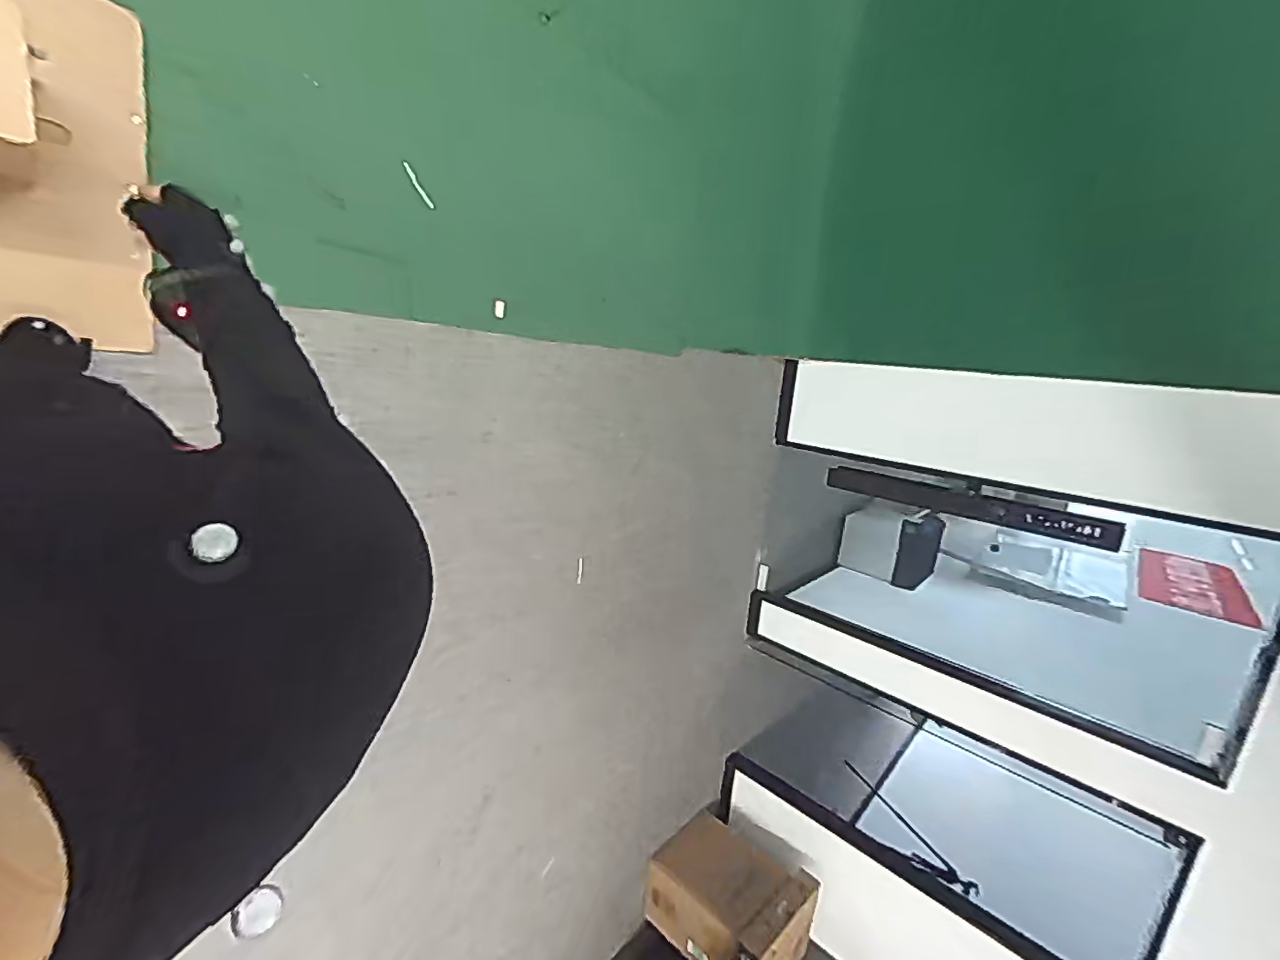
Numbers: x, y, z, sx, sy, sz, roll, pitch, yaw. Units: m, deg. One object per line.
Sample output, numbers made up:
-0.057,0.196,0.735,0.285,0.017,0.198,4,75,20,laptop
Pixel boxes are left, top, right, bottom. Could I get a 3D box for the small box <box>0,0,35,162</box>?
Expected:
-0.908,-0.543,0.694,0.168,0.176,0.179,-5,106,-47,small box
